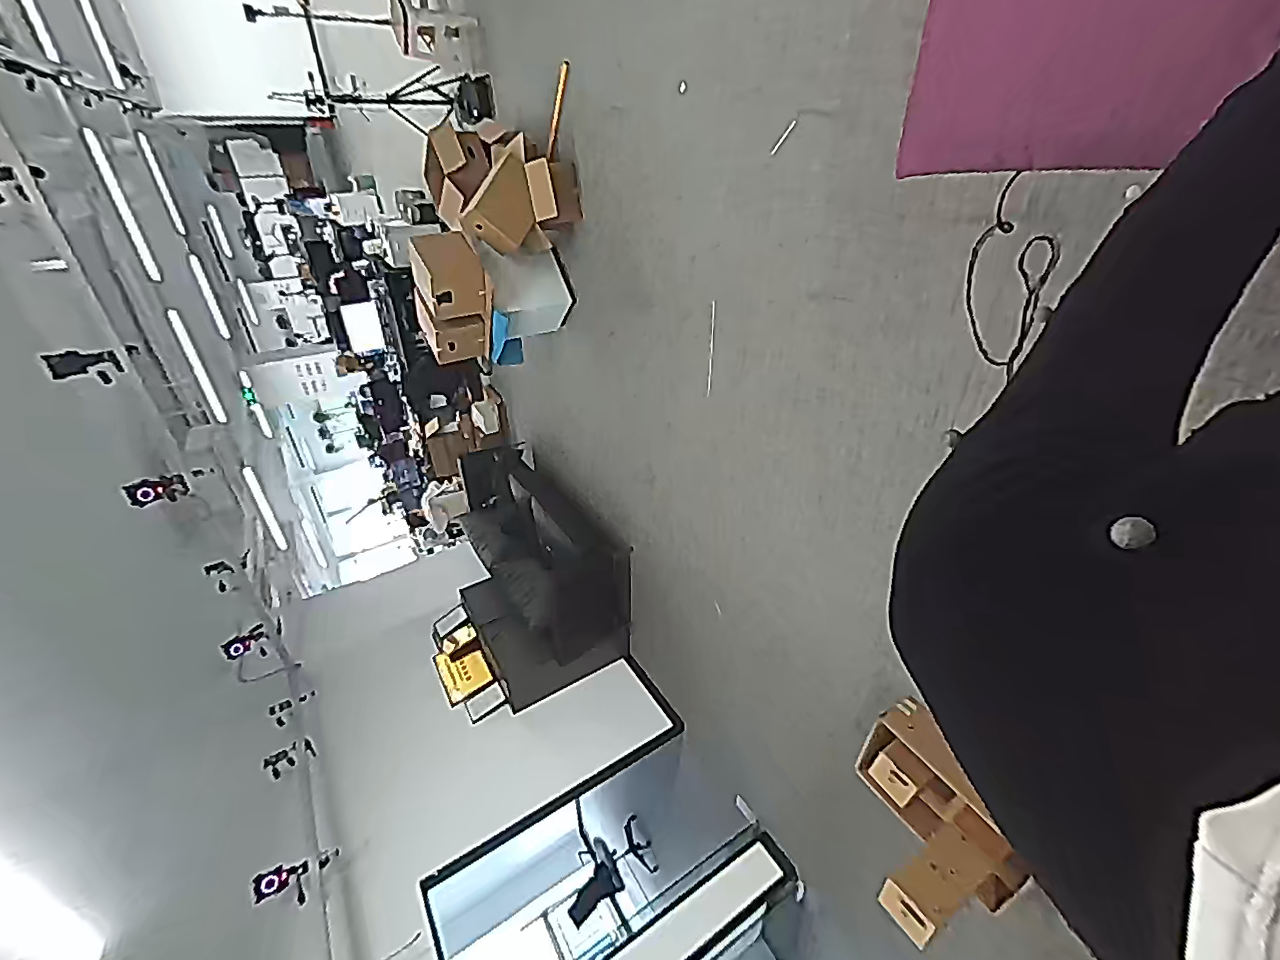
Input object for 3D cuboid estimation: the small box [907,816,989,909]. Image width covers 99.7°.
[{"bbox_3d":[1.057,1.307,1.854,0.168,0.176,0.179,38,140,45],"label":"small box"}]
